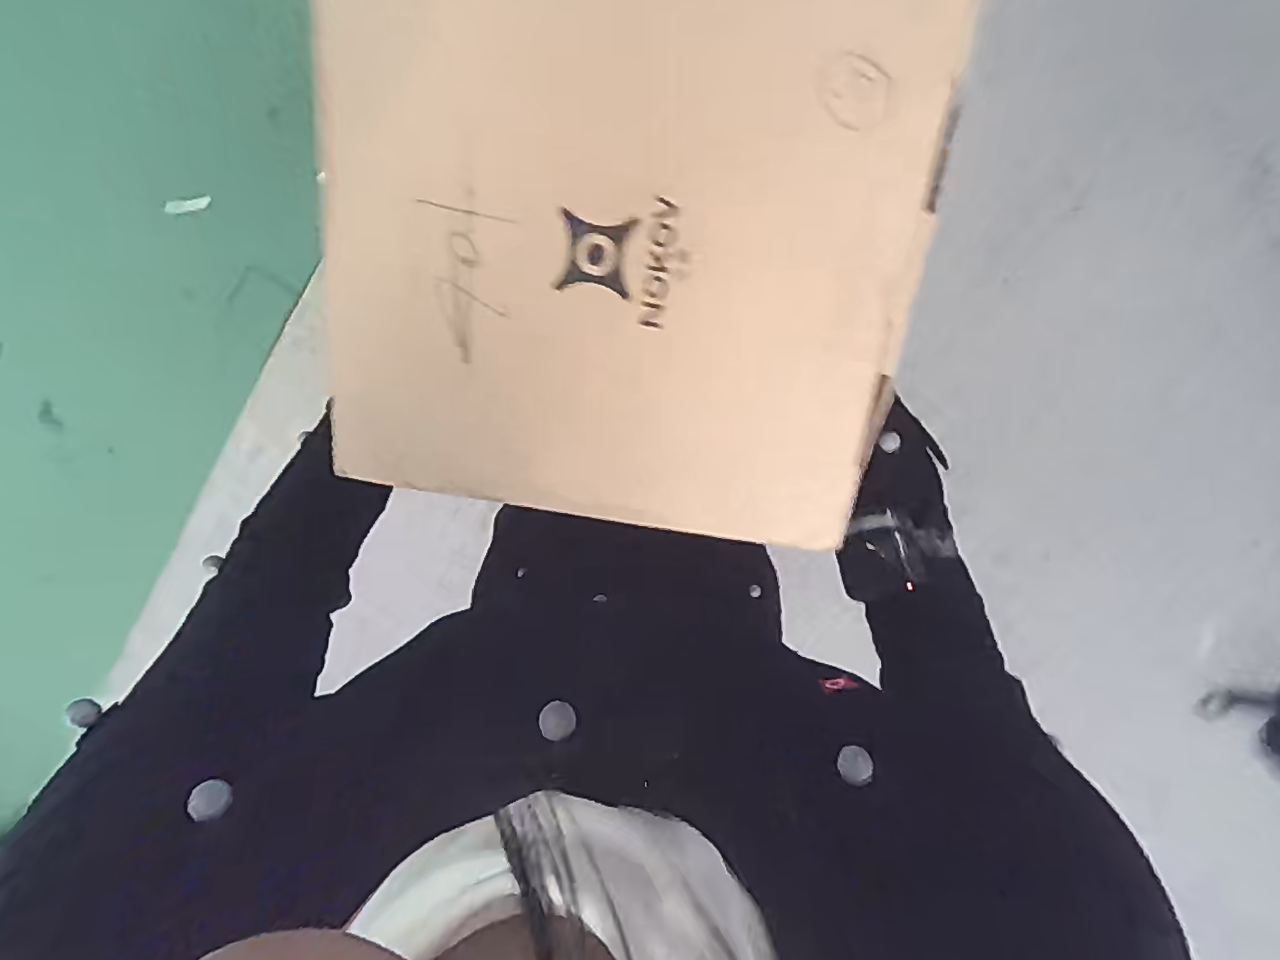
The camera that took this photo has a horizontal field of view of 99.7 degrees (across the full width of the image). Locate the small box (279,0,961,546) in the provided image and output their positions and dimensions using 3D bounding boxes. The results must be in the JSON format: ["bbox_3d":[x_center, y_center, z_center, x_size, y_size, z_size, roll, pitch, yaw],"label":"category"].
[{"bbox_3d":[-0.008,-0.090,0.231,0.179,0.176,0.168,8,108,4],"label":"small box"}]
